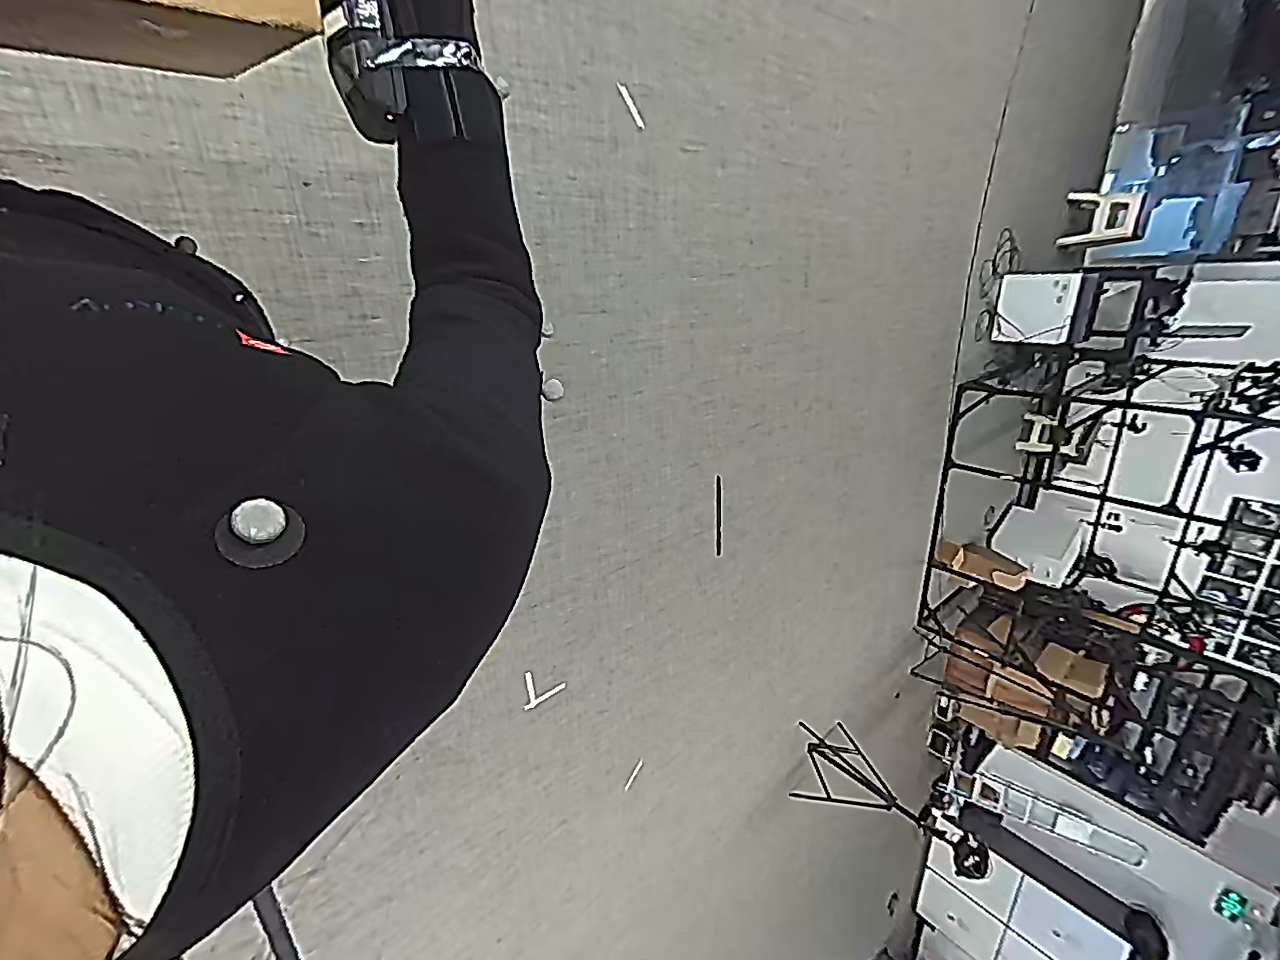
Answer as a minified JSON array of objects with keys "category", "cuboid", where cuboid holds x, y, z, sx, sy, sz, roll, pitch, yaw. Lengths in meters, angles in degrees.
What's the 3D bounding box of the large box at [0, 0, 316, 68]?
[{"category":"large box","cuboid":[-0.431,-0.398,0.222,0.408,0.320,0.320,-22,129,-37]}]
